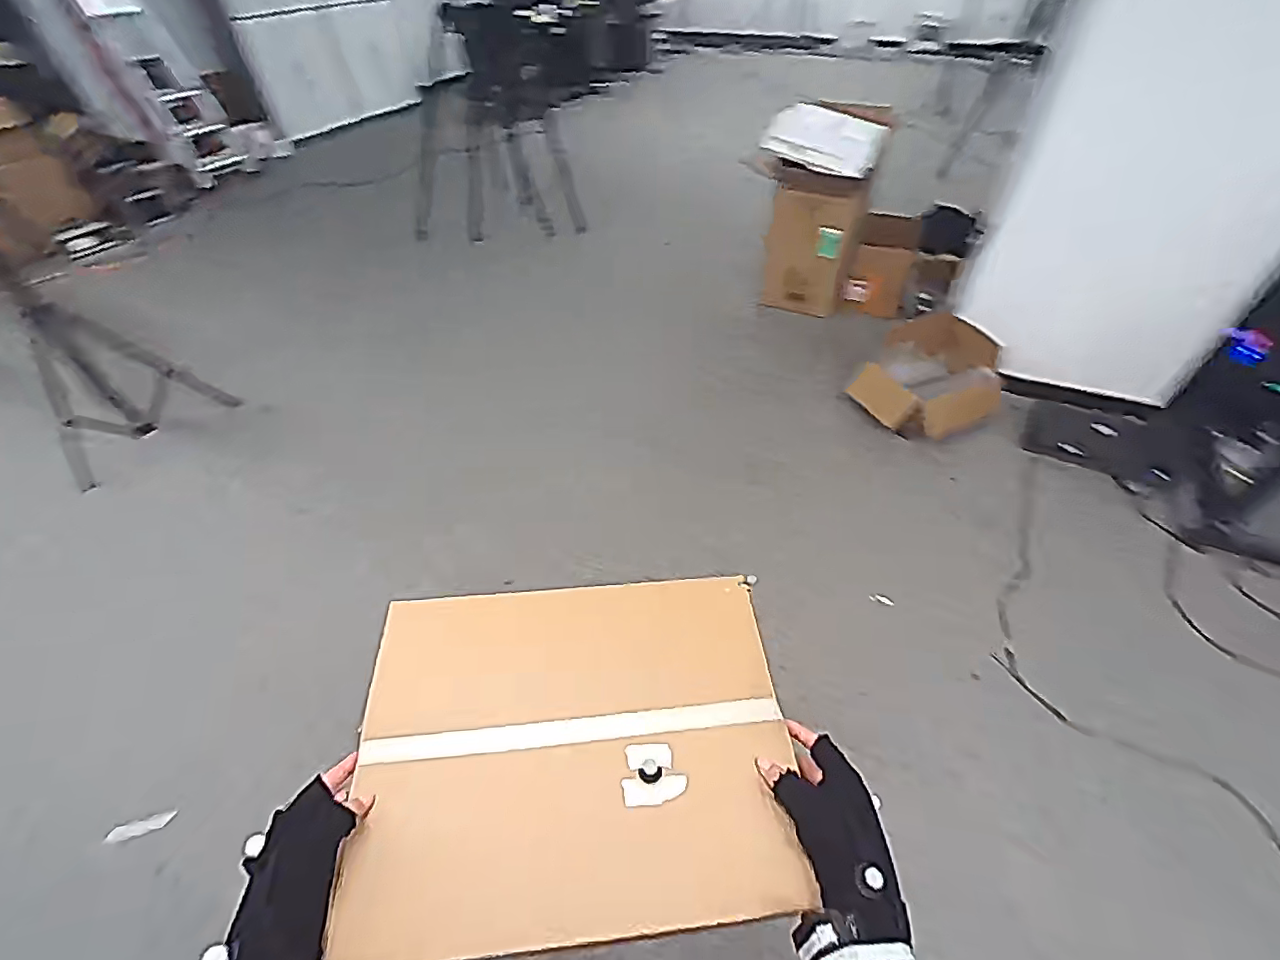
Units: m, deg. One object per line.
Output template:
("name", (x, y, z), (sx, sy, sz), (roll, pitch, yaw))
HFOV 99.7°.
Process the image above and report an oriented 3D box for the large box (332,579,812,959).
("large box", (-0.072, 0.348, 0.649), (0.408, 0.320, 0.320), (-4, 49, -6))
